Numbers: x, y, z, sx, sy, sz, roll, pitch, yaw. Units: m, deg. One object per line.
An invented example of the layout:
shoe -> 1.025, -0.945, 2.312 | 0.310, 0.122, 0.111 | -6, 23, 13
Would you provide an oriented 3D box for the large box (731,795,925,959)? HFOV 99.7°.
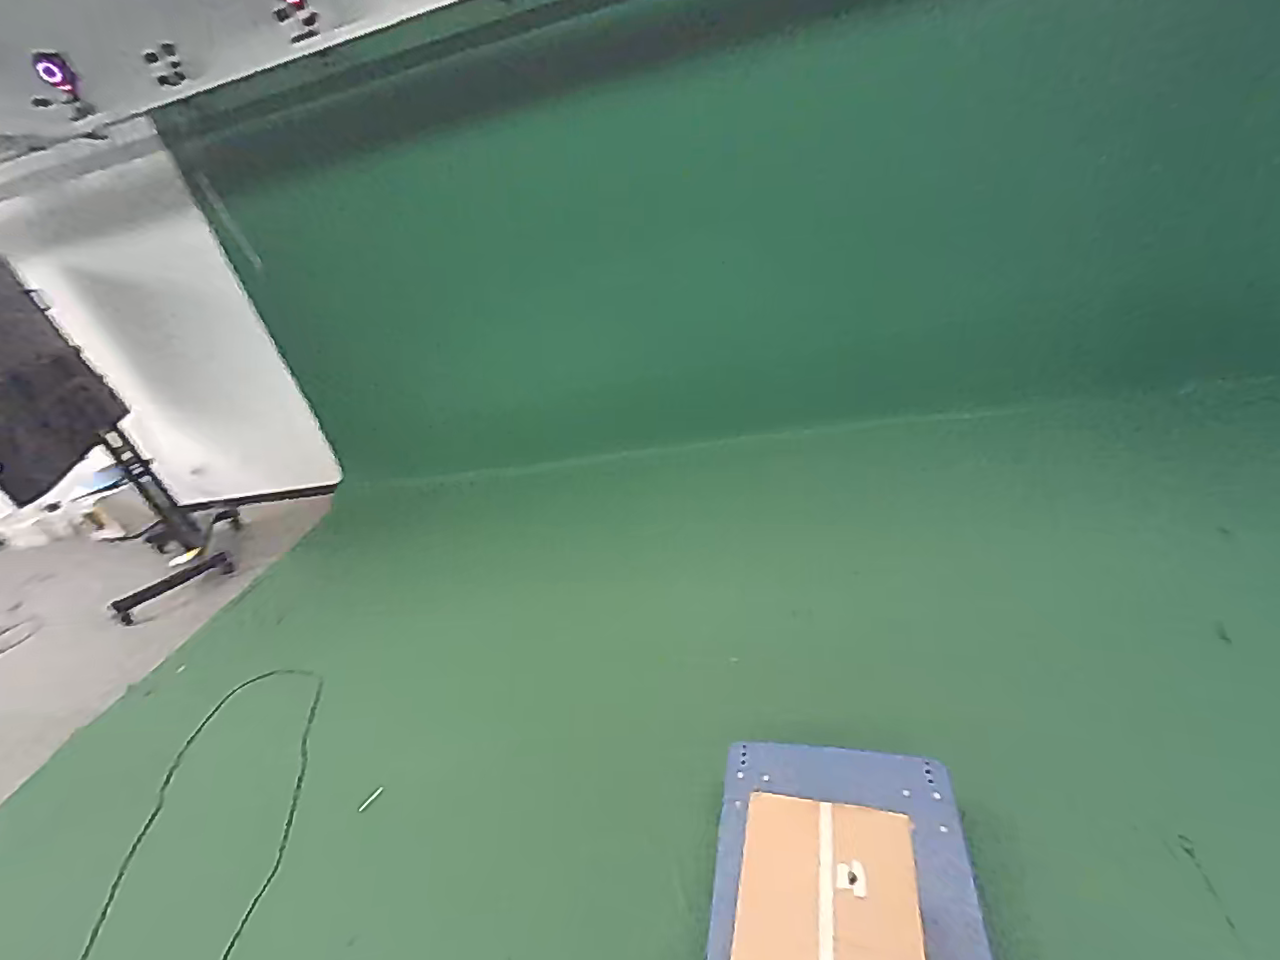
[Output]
large box -> 0.363, 0.908, 1.034 | 0.320, 0.320, 0.408 | -2, 30, 20
